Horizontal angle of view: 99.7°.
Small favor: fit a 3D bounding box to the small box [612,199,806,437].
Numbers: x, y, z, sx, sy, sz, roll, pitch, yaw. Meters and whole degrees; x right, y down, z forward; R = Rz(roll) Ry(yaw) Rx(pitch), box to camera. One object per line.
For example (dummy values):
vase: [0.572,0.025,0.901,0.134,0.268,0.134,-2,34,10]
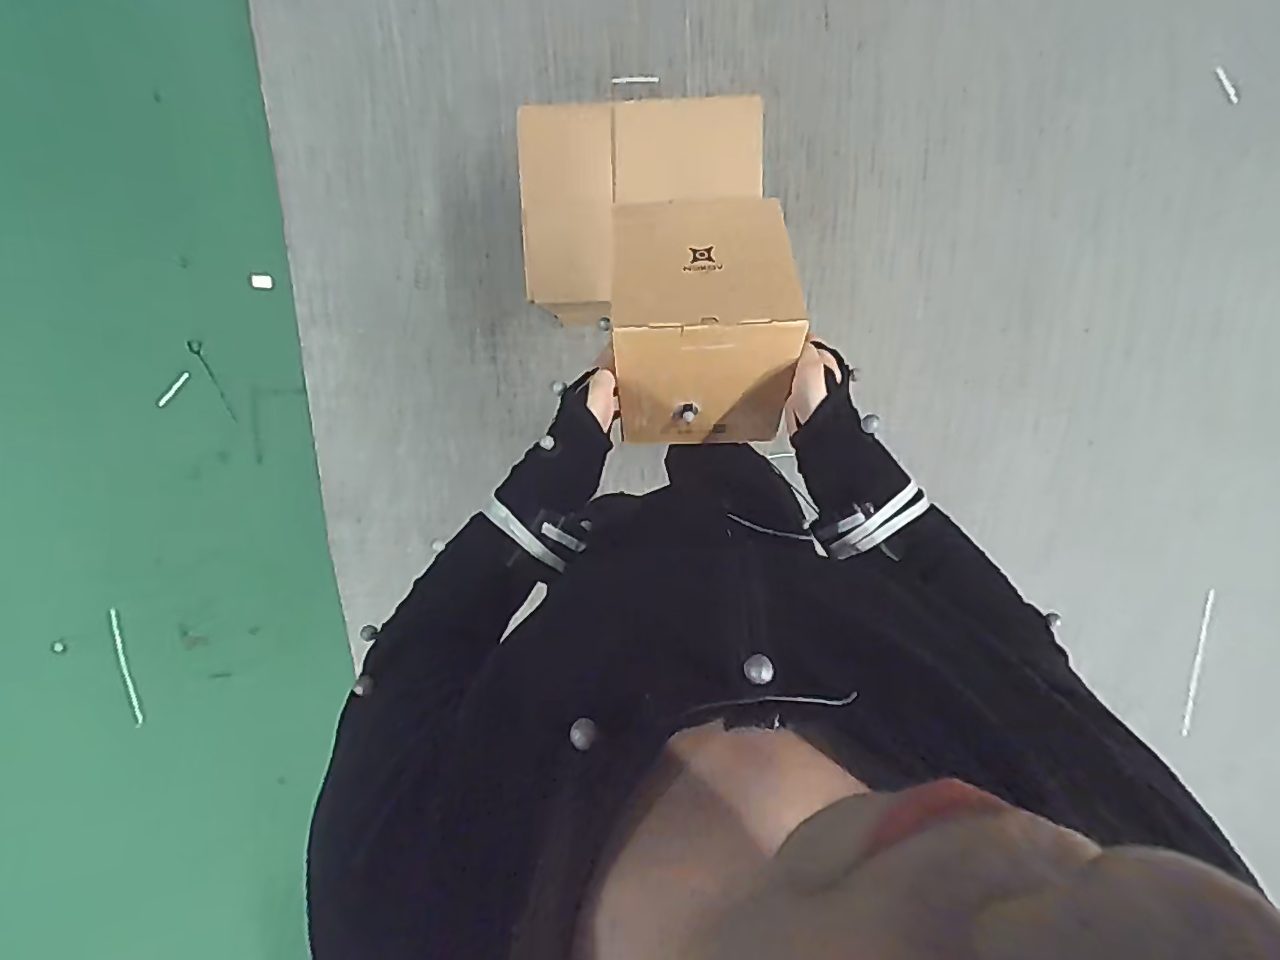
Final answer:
small box: [0.057,-0.163,0.561,0.168,0.176,0.179,-1,59,0]
